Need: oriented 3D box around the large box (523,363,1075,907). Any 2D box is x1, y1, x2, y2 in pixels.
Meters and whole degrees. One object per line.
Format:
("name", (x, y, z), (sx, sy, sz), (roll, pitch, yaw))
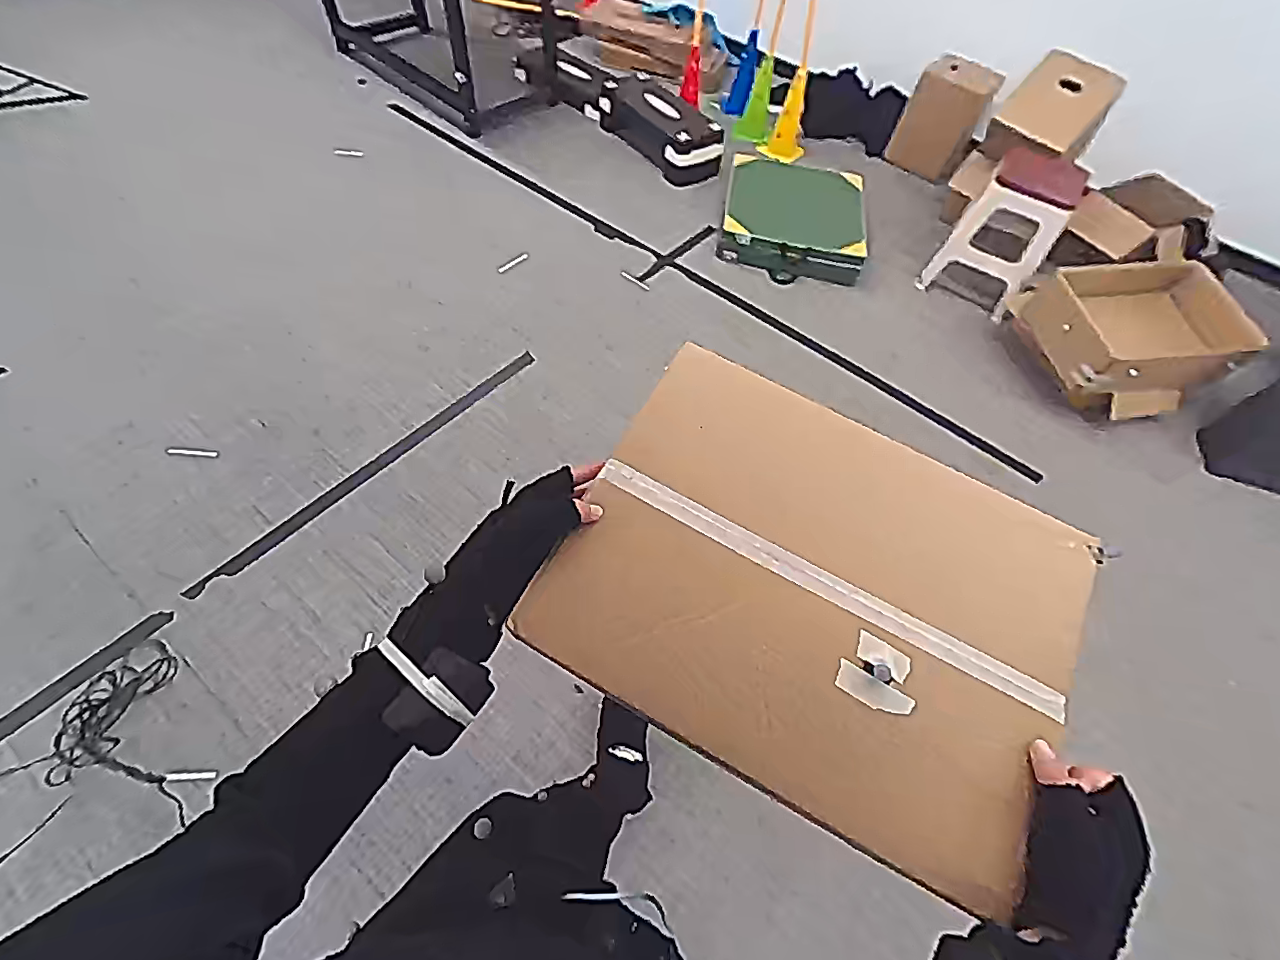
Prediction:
("large box", (0.138, 0.147, 0.597), (0.408, 0.320, 0.320), (29, 70, 8))
